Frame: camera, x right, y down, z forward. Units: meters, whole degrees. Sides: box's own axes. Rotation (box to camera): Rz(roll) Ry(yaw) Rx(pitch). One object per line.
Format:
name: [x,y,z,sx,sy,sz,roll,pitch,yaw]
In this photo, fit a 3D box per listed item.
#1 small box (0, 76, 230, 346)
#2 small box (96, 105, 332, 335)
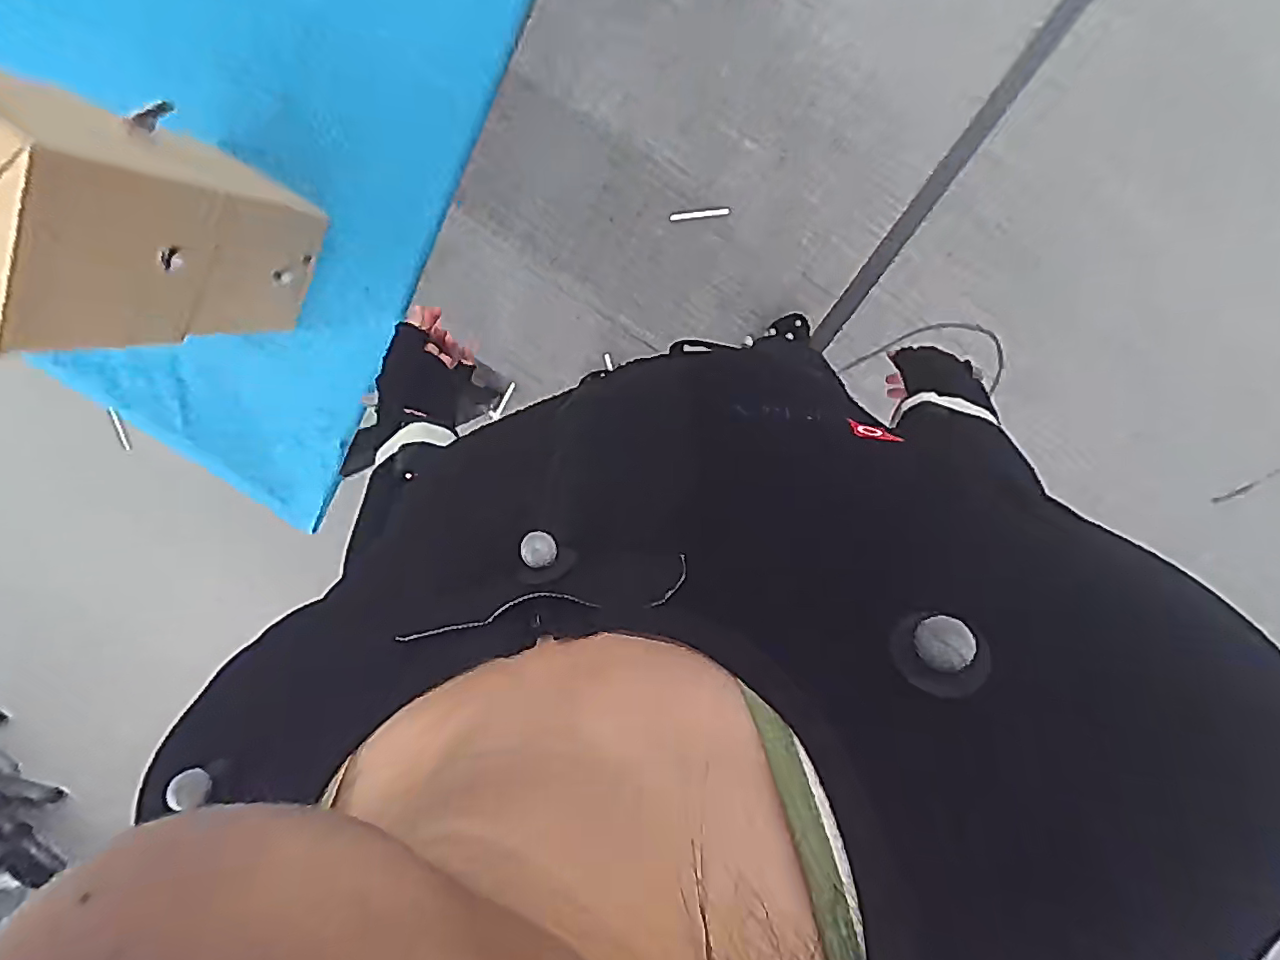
small box: [-0.528,-0.235,0.481,0.168,0.176,0.179,33,109,-3]
small box: [-0.516,-0.289,0.639,0.179,0.176,0.168,34,110,-5]
